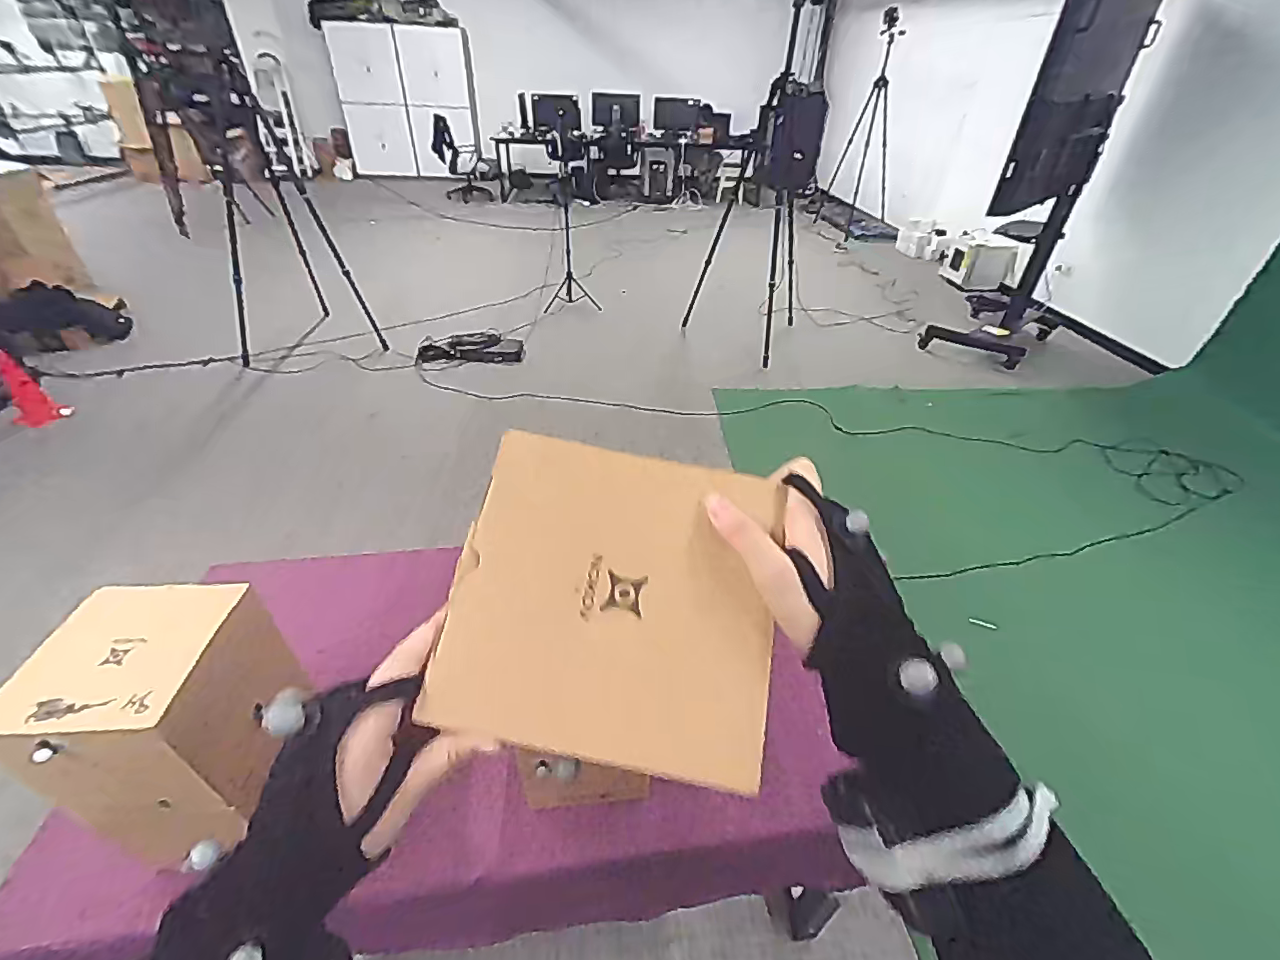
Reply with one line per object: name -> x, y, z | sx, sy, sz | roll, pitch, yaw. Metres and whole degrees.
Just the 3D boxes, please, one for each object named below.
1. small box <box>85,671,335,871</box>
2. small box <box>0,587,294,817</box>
small box -> -0.524, 0.372, 0.699 | 0.168, 0.176, 0.179 | -1, 38, -3
small box -> -0.521, 0.241, 0.599 | 0.168, 0.176, 0.179 | -2, 36, -3
